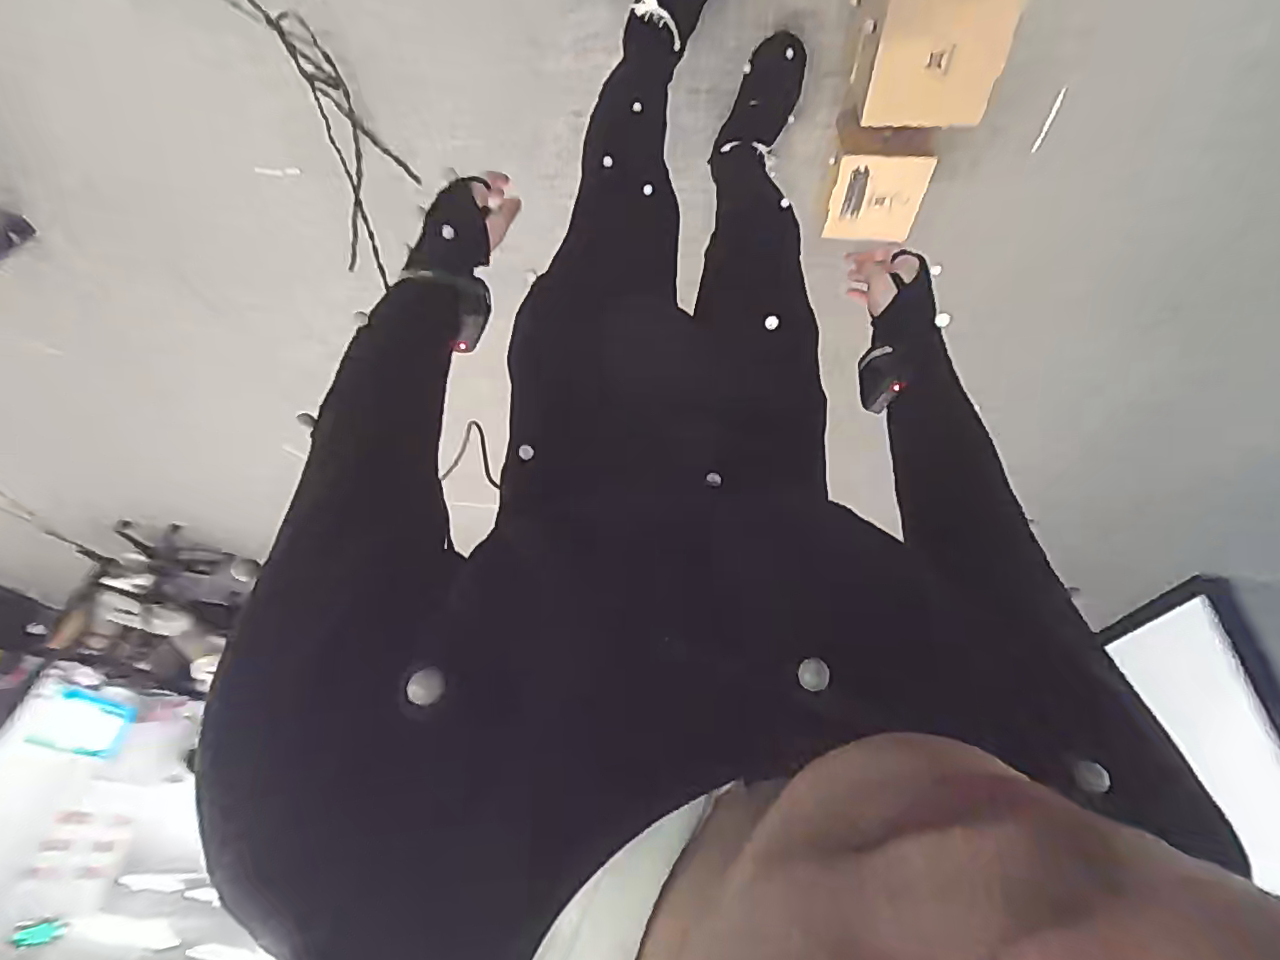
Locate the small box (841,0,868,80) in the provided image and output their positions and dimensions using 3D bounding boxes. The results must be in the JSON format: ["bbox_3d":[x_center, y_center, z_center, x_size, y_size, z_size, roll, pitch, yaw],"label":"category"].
[{"bbox_3d":[0.441,-0.772,0.883,0.179,0.176,0.168,7,145,4],"label":"small box"}]

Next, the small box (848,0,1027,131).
[{"bbox_3d":[0.417,-0.641,0.792,0.179,0.176,0.168,6,145,6],"label":"small box"}]
